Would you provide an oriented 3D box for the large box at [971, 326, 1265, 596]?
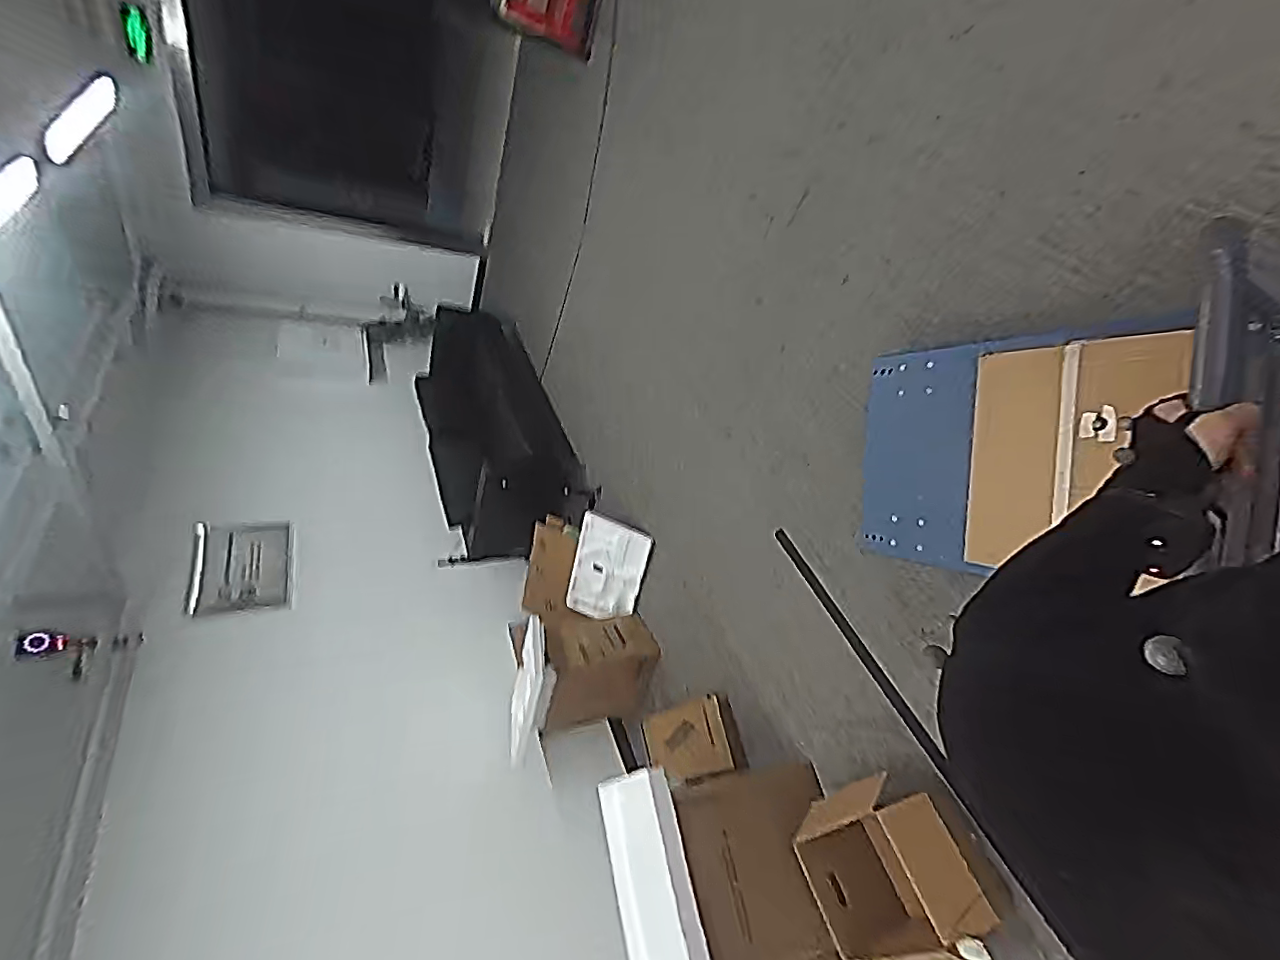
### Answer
[{"bbox_3d":[0.853,-0.031,0.983,0.320,0.320,0.408,8,97,60],"label":"large box"}]
